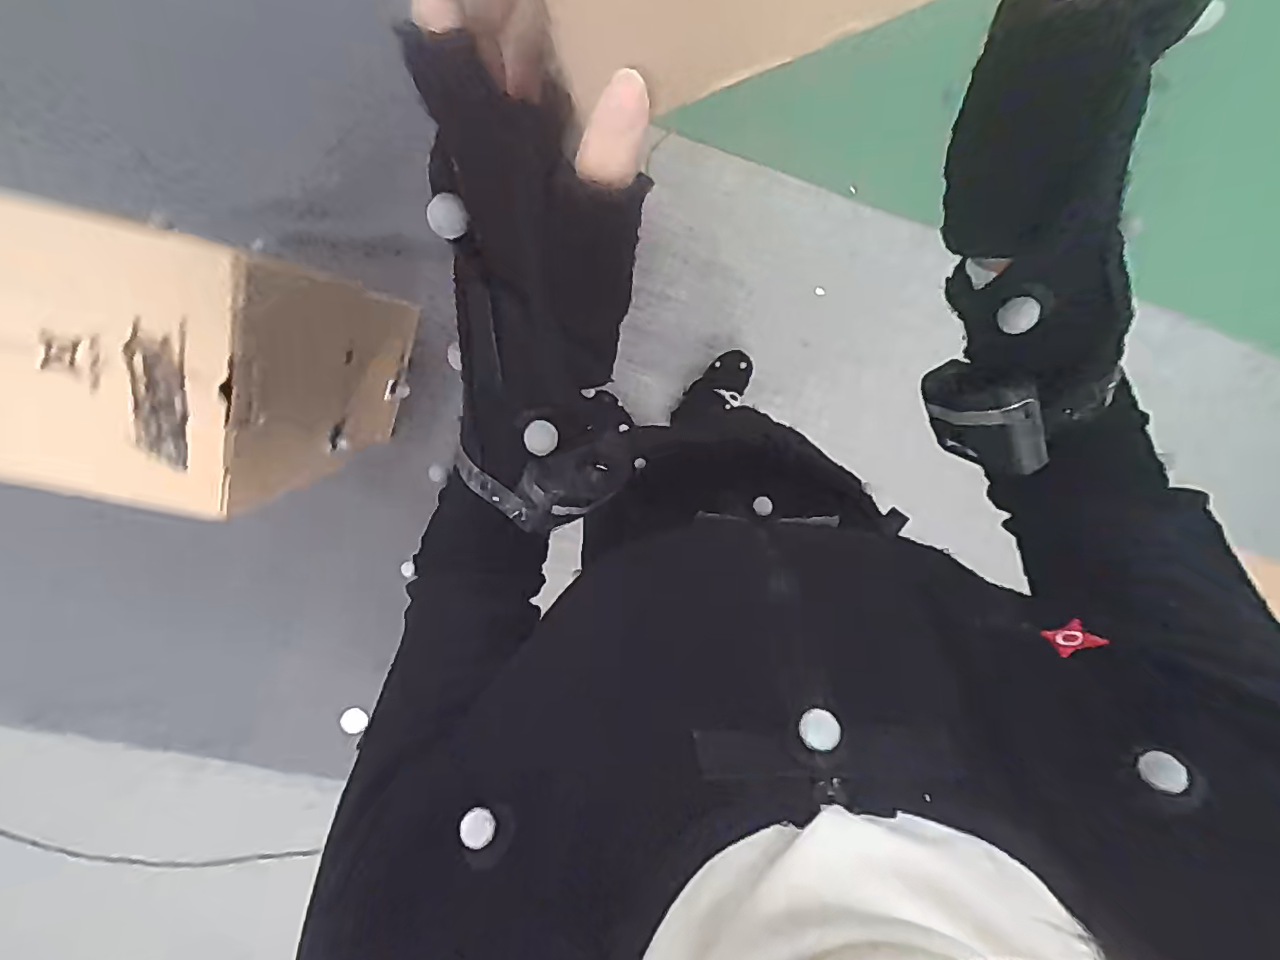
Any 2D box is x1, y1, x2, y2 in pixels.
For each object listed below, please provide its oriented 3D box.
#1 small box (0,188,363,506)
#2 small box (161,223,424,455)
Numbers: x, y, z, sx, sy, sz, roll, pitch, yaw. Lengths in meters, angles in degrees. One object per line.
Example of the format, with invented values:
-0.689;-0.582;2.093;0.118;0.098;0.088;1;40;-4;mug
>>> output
-0.333;-0.096;0.401;0.179;0.176;0.168;12;103;-4;small box
-0.350;-0.138;0.559;0.179;0.176;0.168;15;103;-7;small box
